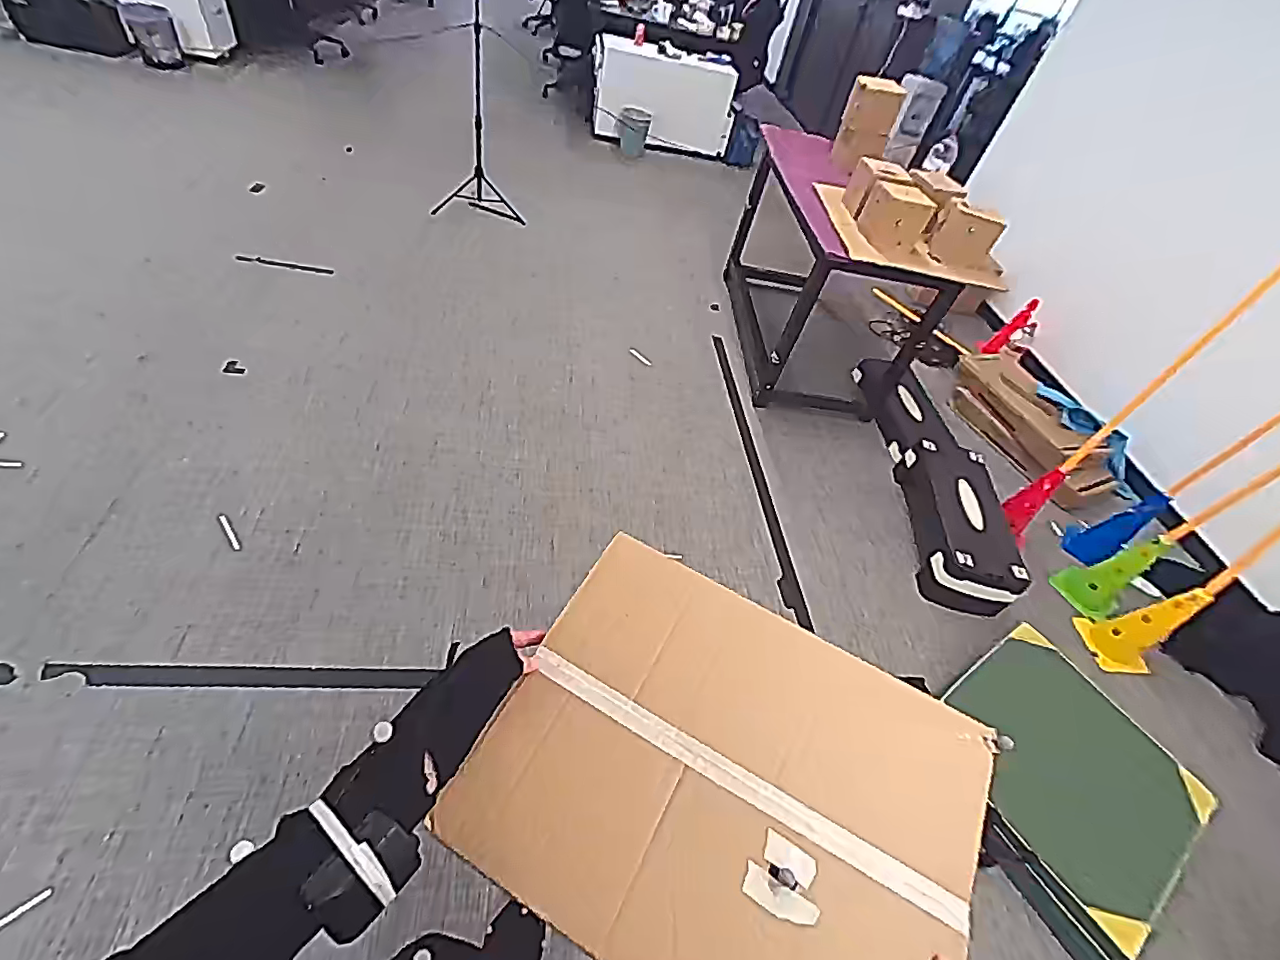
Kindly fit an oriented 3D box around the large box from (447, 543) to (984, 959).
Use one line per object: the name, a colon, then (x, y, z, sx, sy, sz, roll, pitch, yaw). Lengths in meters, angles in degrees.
large box: (0.071, 0.341, 0.601, 0.408, 0.320, 0.320, 27, 59, 13)
